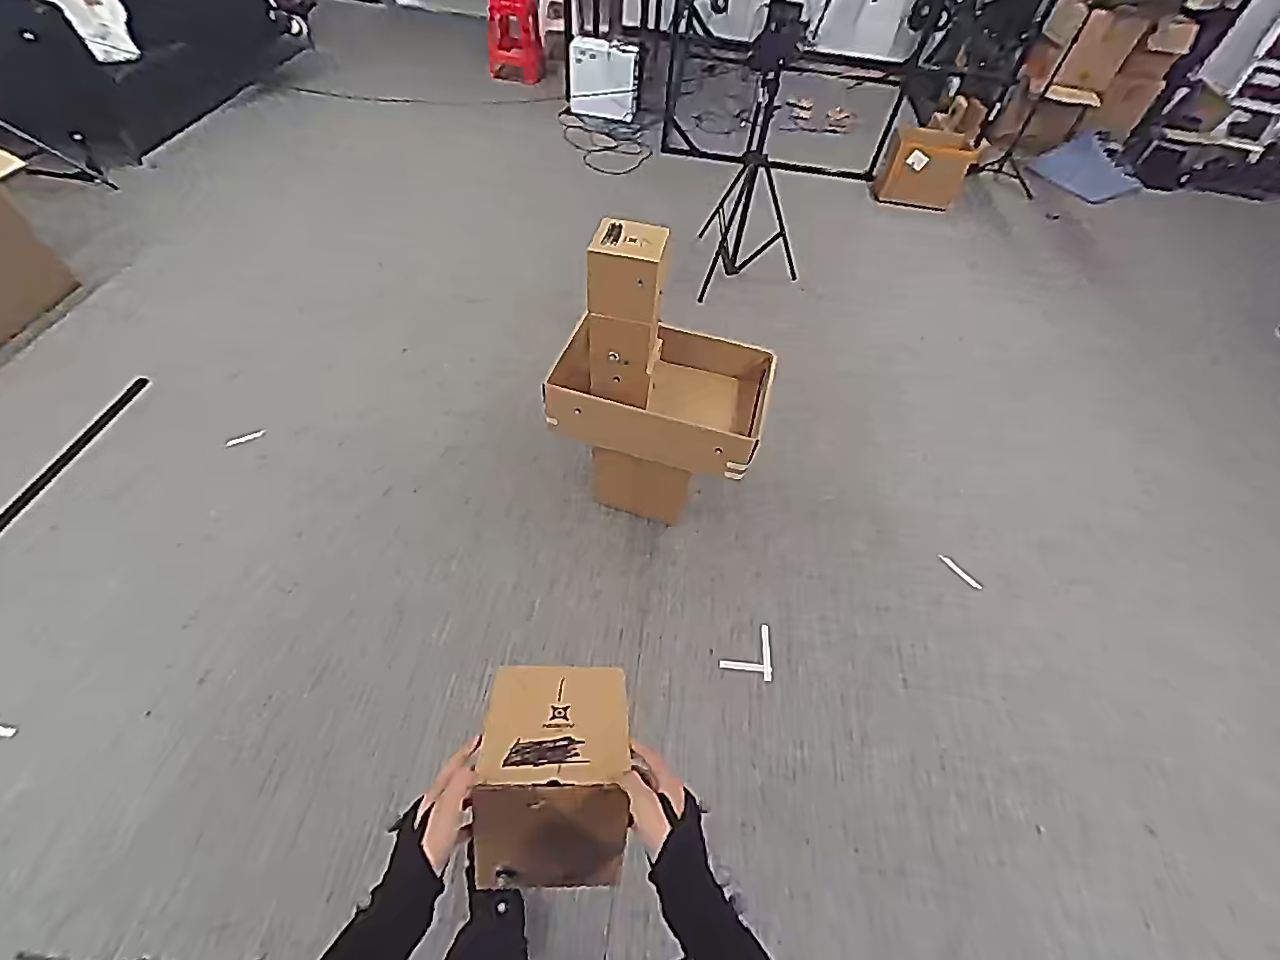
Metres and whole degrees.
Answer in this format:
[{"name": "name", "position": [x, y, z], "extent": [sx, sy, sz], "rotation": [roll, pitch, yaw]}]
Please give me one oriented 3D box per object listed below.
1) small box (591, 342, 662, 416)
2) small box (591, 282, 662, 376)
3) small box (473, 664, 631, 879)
[{"name": "small box", "position": [-0.043, -0.313, 1.622], "extent": [0.179, 0.176, 0.168], "rotation": [13, 53, 4]}, {"name": "small box", "position": [-0.039, -0.416, 1.494], "extent": [0.168, 0.176, 0.179], "rotation": [11, 52, 3]}, {"name": "small box", "position": [-0.100, 0.351, 0.661], "extent": [0.168, 0.176, 0.179], "rotation": [3, 22, -6]}]
